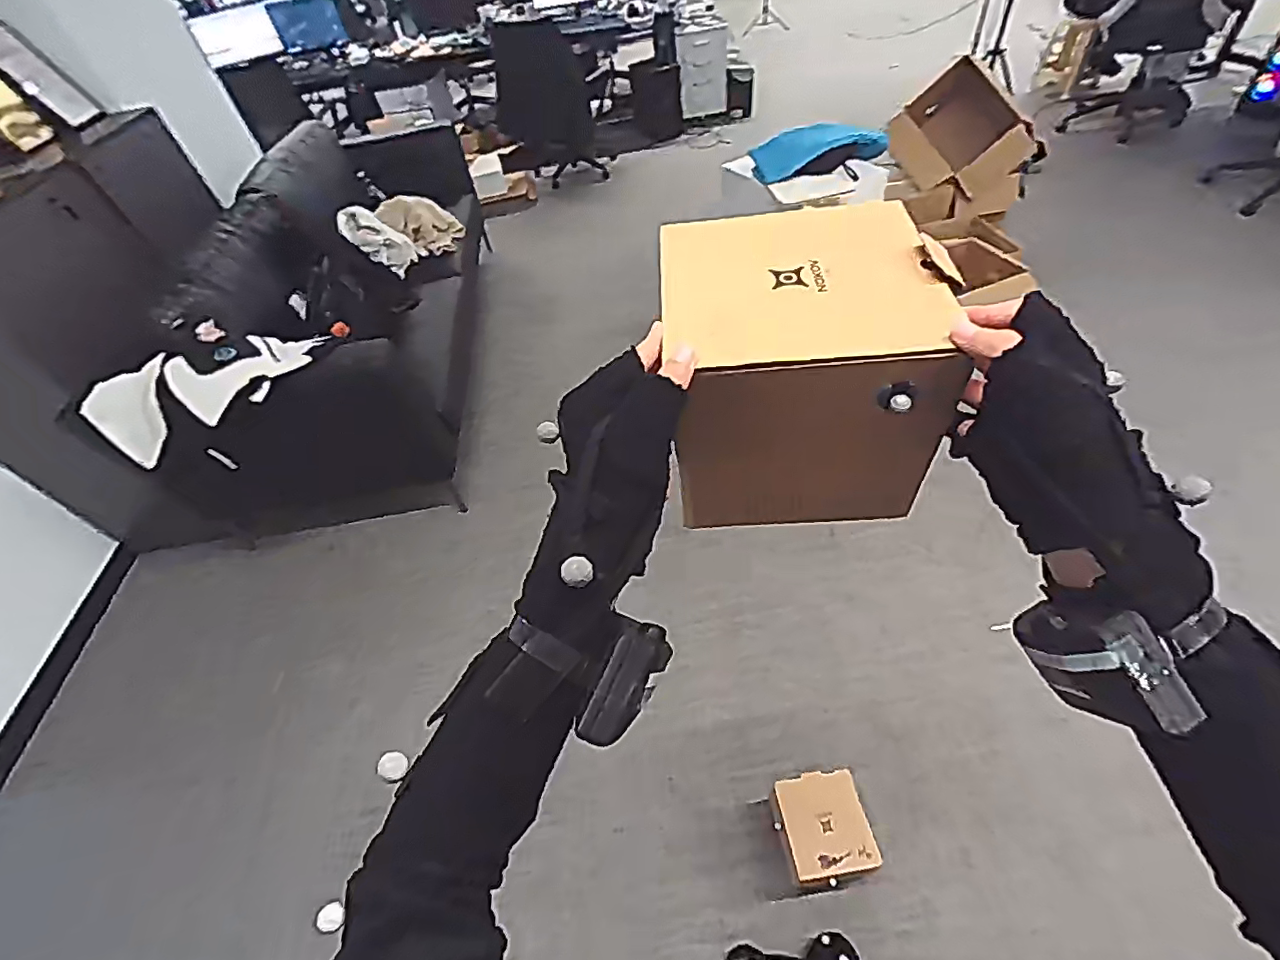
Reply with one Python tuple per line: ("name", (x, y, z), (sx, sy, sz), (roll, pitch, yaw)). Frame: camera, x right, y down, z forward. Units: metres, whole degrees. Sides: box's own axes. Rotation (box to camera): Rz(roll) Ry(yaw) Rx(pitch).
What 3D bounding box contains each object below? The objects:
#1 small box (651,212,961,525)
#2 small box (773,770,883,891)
("small box", (0.105, -0.077, 0.418), (0.179, 0.176, 0.168), (-4, 52, 6))
("small box", (0.387, 0.745, 1.148), (0.168, 0.176, 0.179), (-10, 47, 1))
